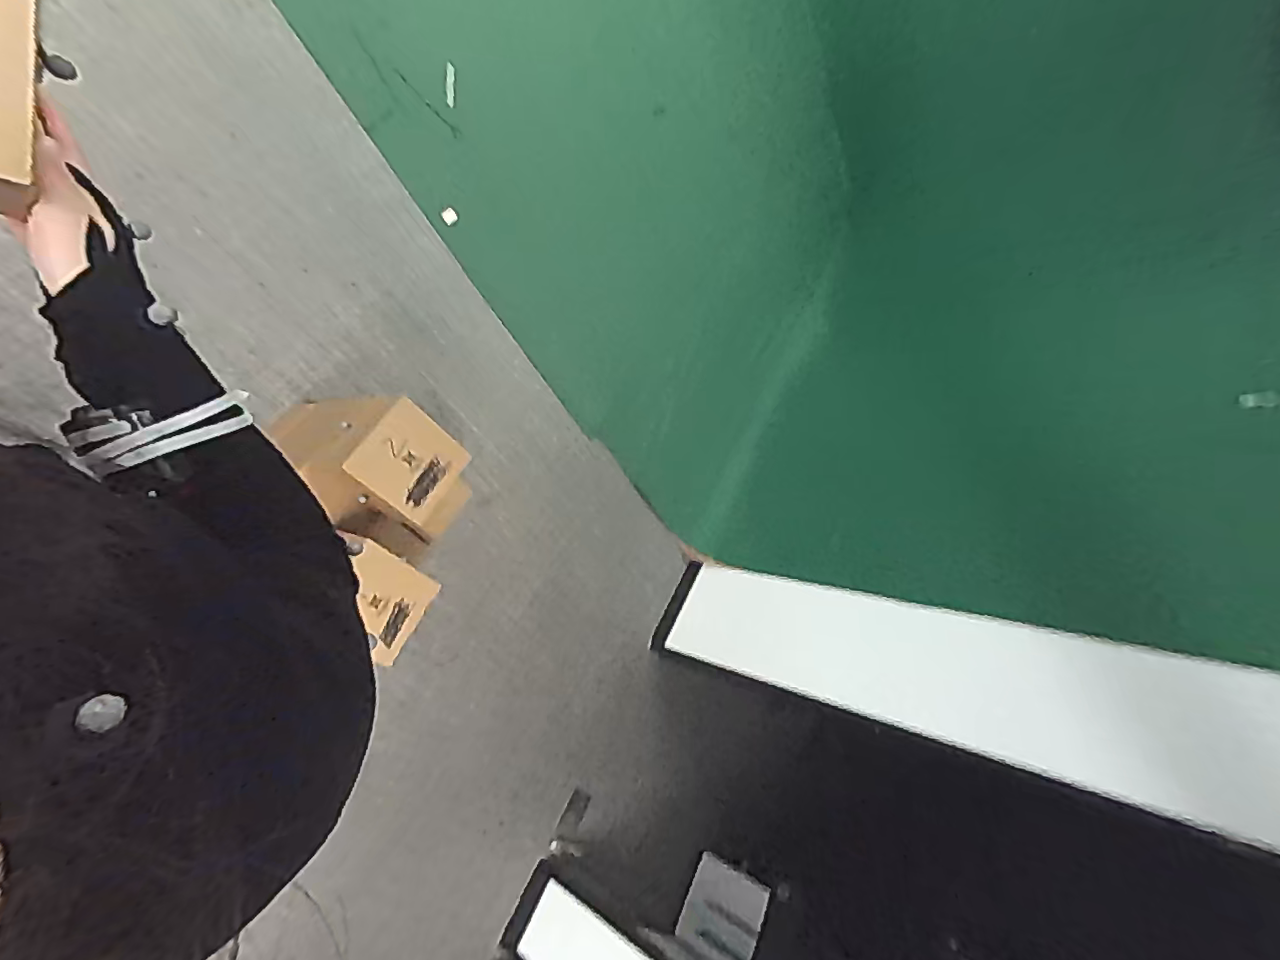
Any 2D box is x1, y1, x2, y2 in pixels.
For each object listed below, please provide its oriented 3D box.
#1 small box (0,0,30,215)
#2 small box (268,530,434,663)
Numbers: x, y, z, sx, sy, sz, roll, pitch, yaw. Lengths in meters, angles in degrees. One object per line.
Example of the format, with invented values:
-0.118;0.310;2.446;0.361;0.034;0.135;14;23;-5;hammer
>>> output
-0.435;-0.255;0.272;0.168;0.176;0.179;1;101;-49;small box
-0.529;0.206;0.993;0.179;0.176;0.168;52;55;-39;small box
